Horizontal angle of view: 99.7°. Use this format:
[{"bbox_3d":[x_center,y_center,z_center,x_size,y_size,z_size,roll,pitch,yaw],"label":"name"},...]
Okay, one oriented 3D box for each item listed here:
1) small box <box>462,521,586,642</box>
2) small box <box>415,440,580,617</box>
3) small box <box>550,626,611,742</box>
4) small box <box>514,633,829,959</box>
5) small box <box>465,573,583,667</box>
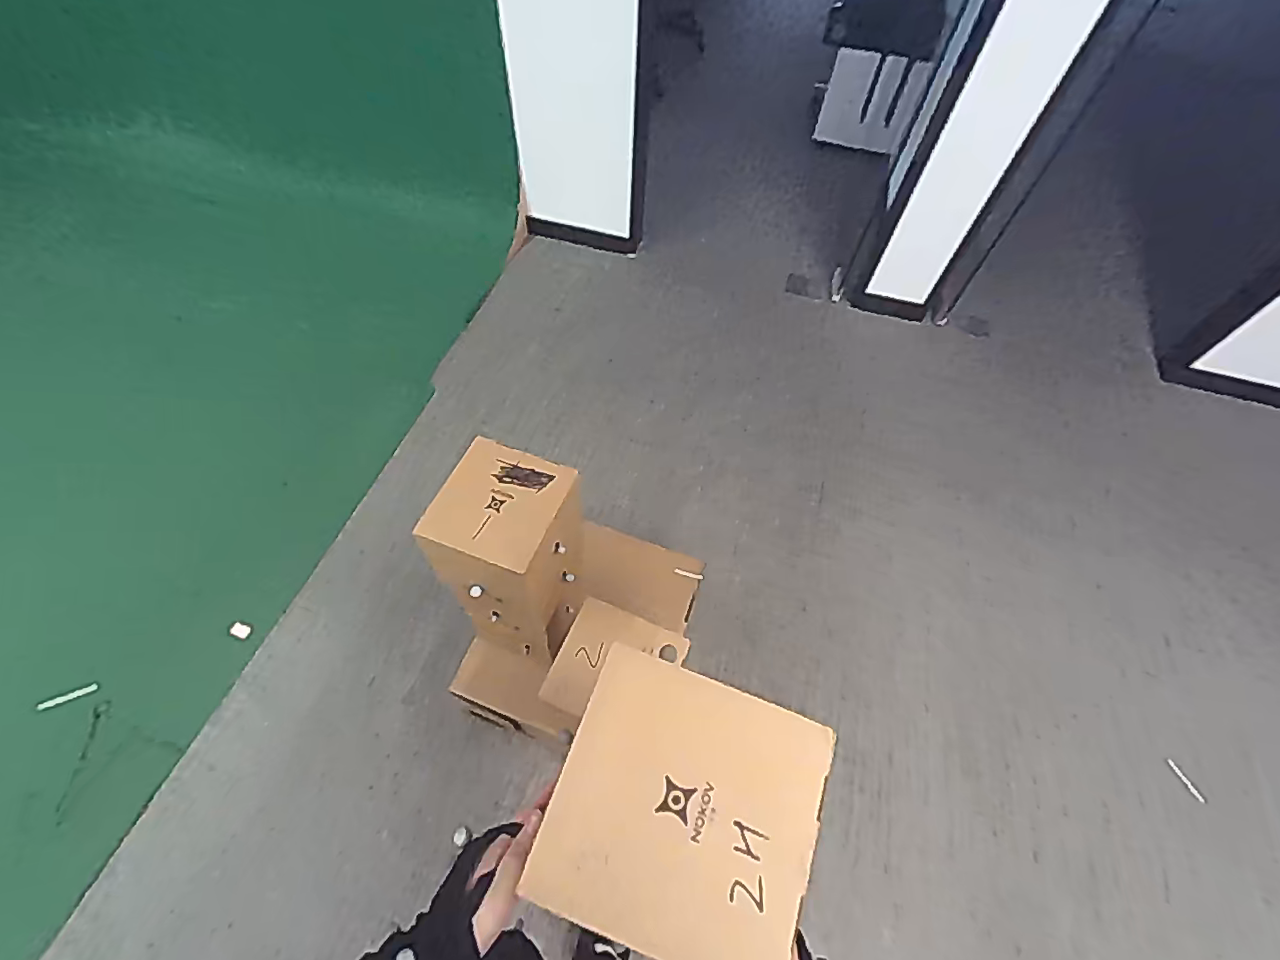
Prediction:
[{"bbox_3d":[-0.204,0.157,0.949,0.168,0.176,0.179,19,58,8],"label":"small box"},{"bbox_3d":[-0.198,0.076,0.807,0.168,0.176,0.179,19,58,9],"label":"small box"},{"bbox_3d":[-0.052,0.402,0.989,0.168,0.176,0.179,21,56,9],"label":"small box"},{"bbox_3d":[0.023,0.245,0.437,0.179,0.176,0.168,21,66,5],"label":"small box"},{"bbox_3d":[-0.219,0.250,1.083,0.168,0.176,0.179,19,56,9],"label":"small box"}]
